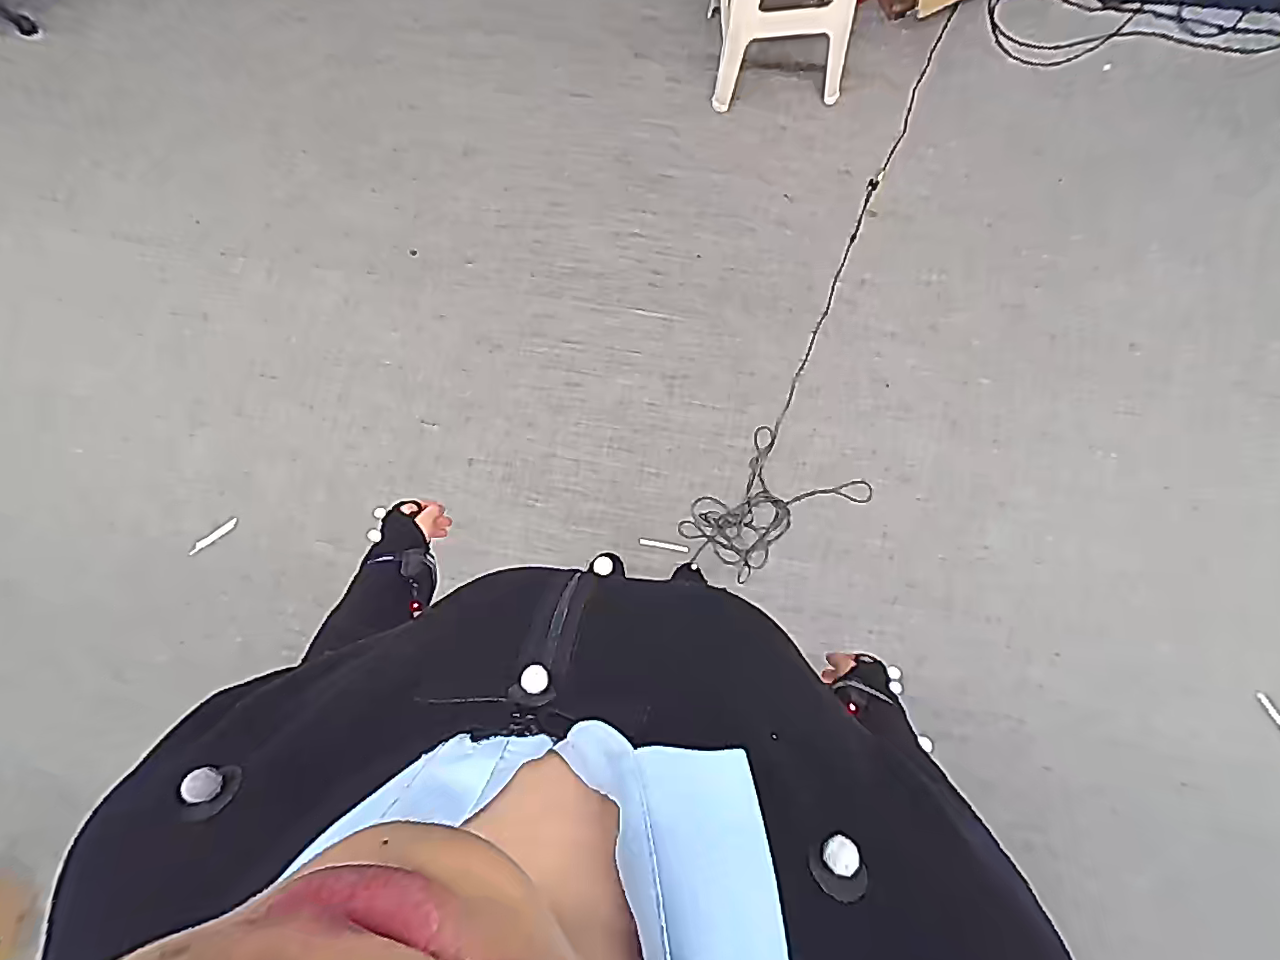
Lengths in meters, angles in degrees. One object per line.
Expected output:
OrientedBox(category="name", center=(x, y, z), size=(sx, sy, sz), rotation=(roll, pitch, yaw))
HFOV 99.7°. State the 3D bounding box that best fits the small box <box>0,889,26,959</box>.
OrientedBox(category="small box", center=(-1.753, 1.174, 1.380), size=(0.179, 0.176, 0.168), rotation=(7, 82, 4))
